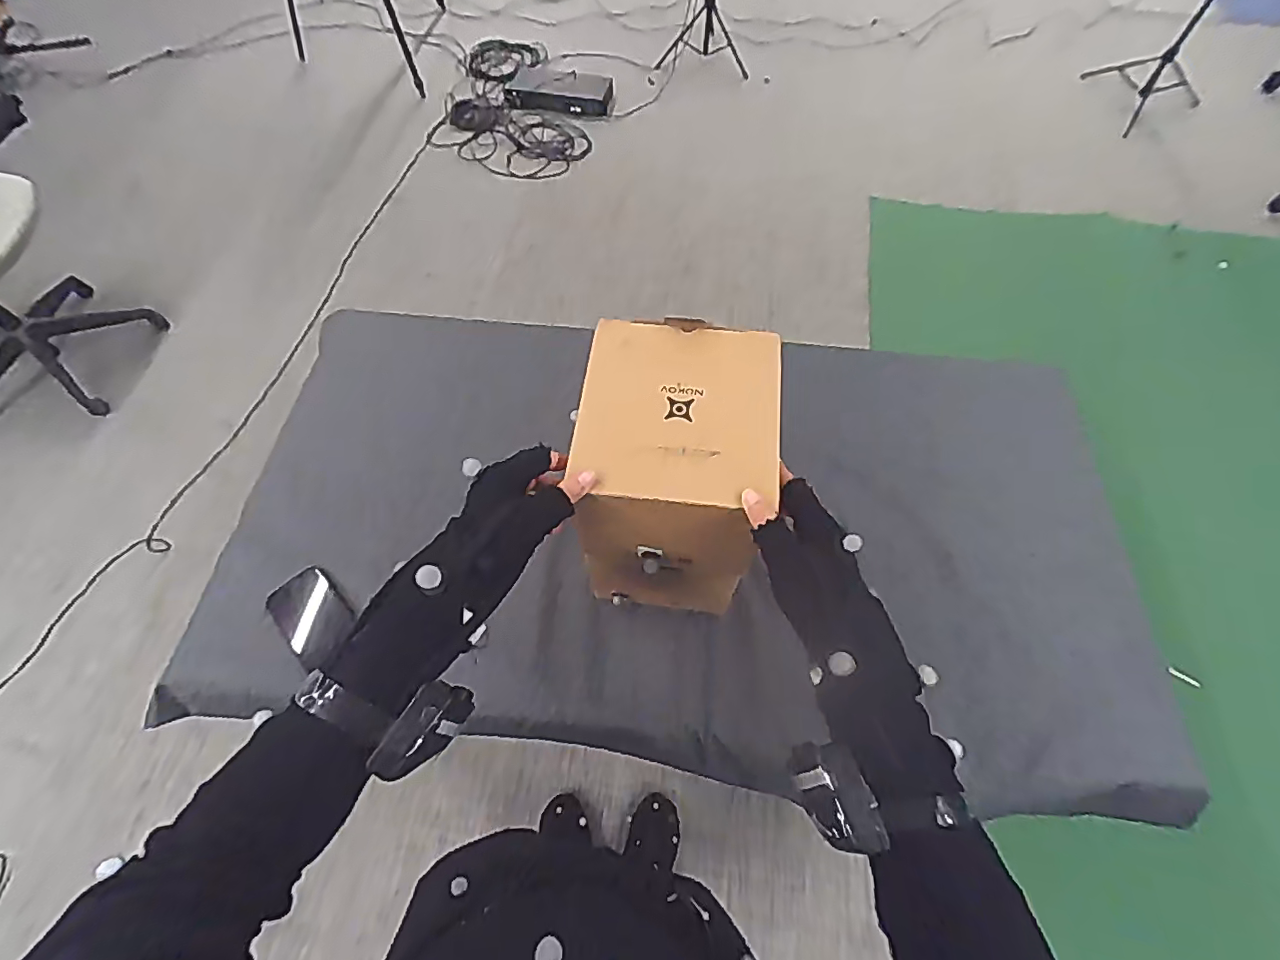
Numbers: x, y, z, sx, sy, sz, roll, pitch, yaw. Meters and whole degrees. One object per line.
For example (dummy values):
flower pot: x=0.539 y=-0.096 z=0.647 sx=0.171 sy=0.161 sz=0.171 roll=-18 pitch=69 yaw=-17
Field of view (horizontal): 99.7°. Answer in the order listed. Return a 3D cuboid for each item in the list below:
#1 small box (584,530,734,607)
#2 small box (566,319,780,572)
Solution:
small box: x=0.034 y=0.045 z=0.662 sx=0.168 sy=0.176 sz=0.179 roll=7 pitch=61 yaw=4
small box: x=0.034 y=-0.026 z=0.516 sx=0.168 sy=0.176 sz=0.179 roll=5 pitch=65 yaw=4
